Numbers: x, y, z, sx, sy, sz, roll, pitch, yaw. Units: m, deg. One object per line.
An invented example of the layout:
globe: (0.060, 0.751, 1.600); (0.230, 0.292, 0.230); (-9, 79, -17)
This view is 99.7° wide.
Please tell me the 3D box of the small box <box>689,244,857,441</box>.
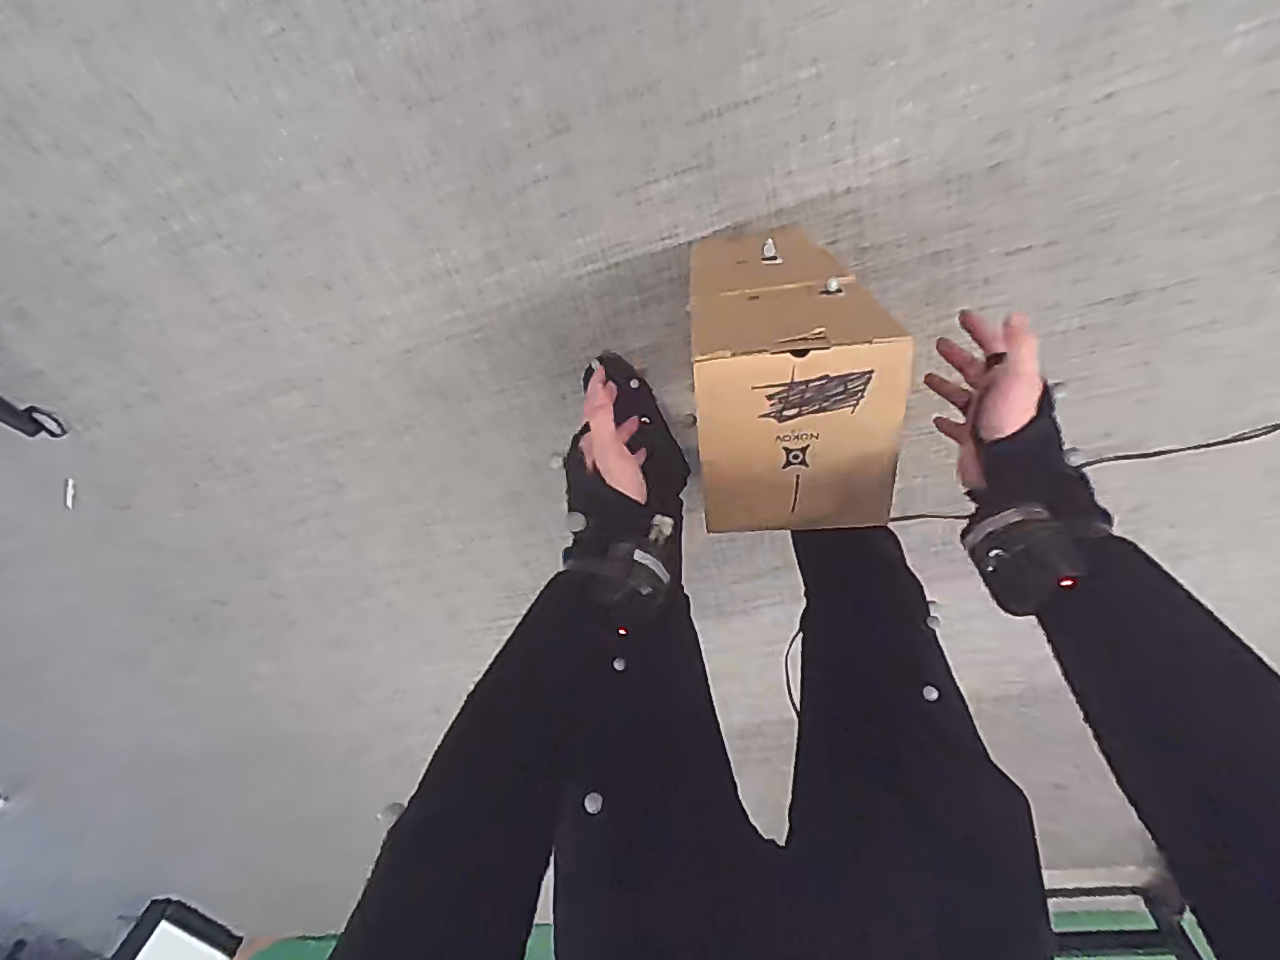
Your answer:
small box: (0.151, -0.167, 0.647); (0.168, 0.176, 0.179); (-5, 121, 9)

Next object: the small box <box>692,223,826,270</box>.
small box: (0.167, -0.255, 0.782); (0.168, 0.176, 0.179); (-3, 123, 9)
